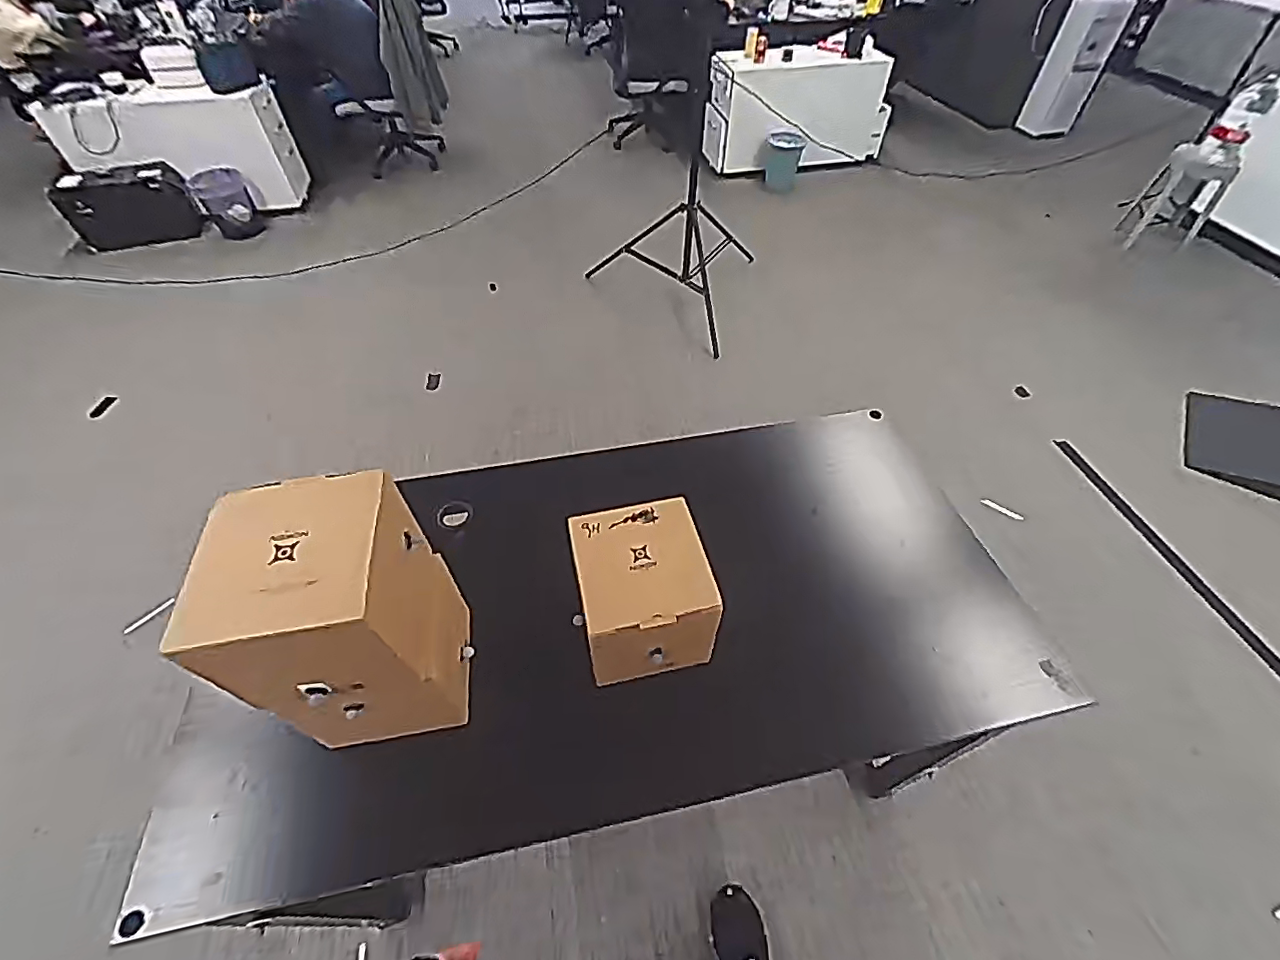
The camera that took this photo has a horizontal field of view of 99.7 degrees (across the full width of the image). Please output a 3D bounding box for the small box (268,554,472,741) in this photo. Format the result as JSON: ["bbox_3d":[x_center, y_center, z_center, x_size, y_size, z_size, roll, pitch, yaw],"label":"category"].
[{"bbox_3d":[-0.327,0.219,0.698,0.179,0.176,0.168,-7,51,-8],"label":"small box"}]

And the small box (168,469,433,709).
[{"bbox_3d":[-0.329,0.116,0.572,0.168,0.176,0.179,-10,52,-6],"label":"small box"}]

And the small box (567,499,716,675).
[{"bbox_3d":[-0.002,0.155,0.755,0.168,0.176,0.179,-10,51,-8],"label":"small box"}]
